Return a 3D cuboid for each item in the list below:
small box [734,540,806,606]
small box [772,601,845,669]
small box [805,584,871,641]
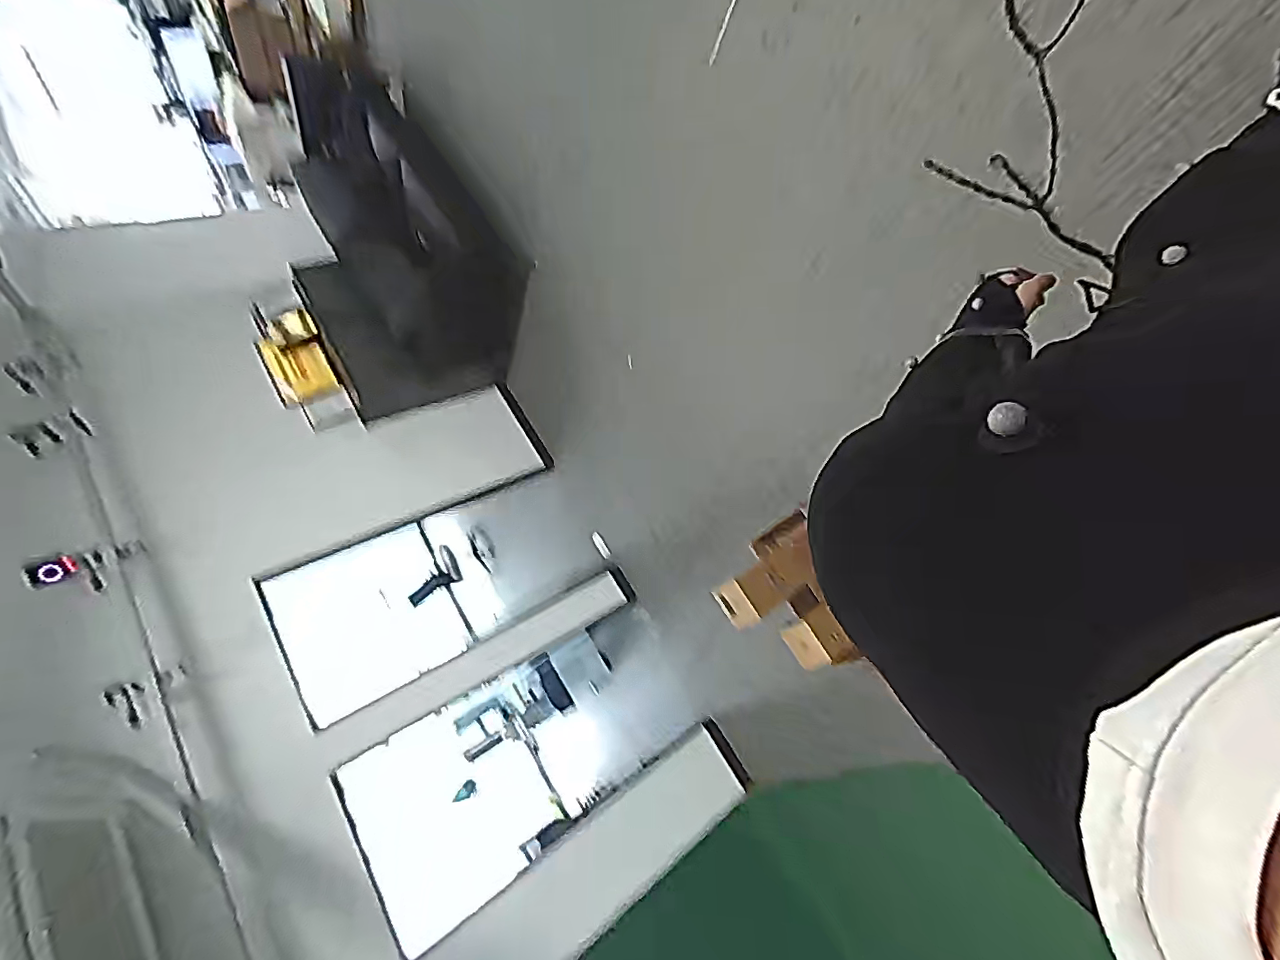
[{"bbox_3d":[0.502,0.357,2.083,0.168,0.176,0.179,56,148,13],"label":"small box"},{"bbox_3d":[0.636,0.576,2.022,0.168,0.176,0.179,57,148,15],"label":"small box"},{"bbox_3d":[0.765,0.526,2.105,0.168,0.176,0.179,59,148,14],"label":"small box"}]
